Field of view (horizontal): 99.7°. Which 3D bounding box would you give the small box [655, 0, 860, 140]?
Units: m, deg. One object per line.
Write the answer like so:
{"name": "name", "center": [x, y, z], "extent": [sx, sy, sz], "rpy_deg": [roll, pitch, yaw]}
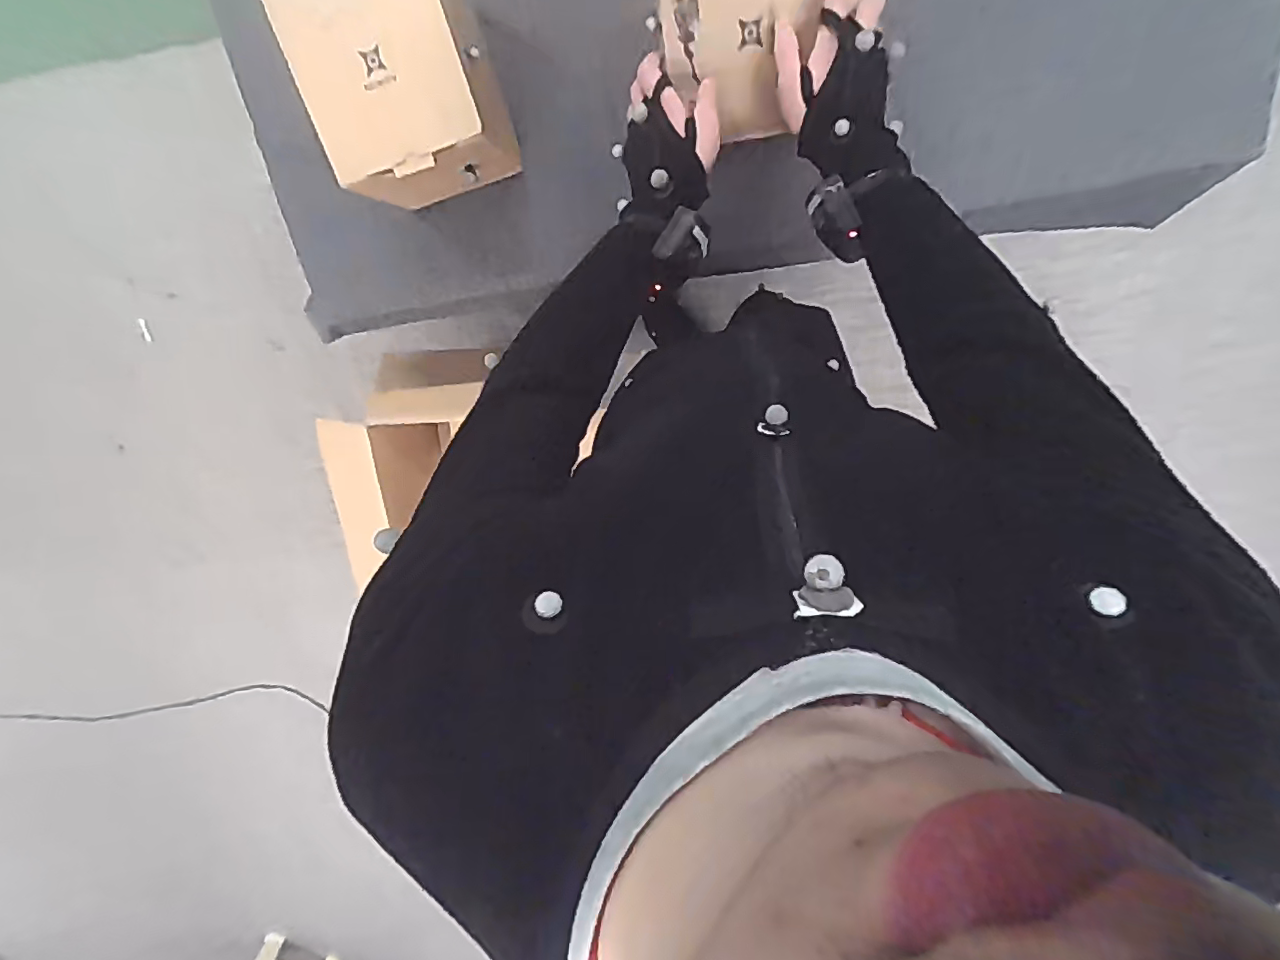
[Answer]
{"name": "small box", "center": [0.107, -0.464, 0.541], "extent": [0.179, 0.176, 0.168], "rpy_deg": [-6, 131, 6]}

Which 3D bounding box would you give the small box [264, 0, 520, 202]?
{"name": "small box", "center": [-0.253, -0.429, 0.603], "extent": [0.168, 0.176, 0.179], "rpy_deg": [-16, 107, 8]}
